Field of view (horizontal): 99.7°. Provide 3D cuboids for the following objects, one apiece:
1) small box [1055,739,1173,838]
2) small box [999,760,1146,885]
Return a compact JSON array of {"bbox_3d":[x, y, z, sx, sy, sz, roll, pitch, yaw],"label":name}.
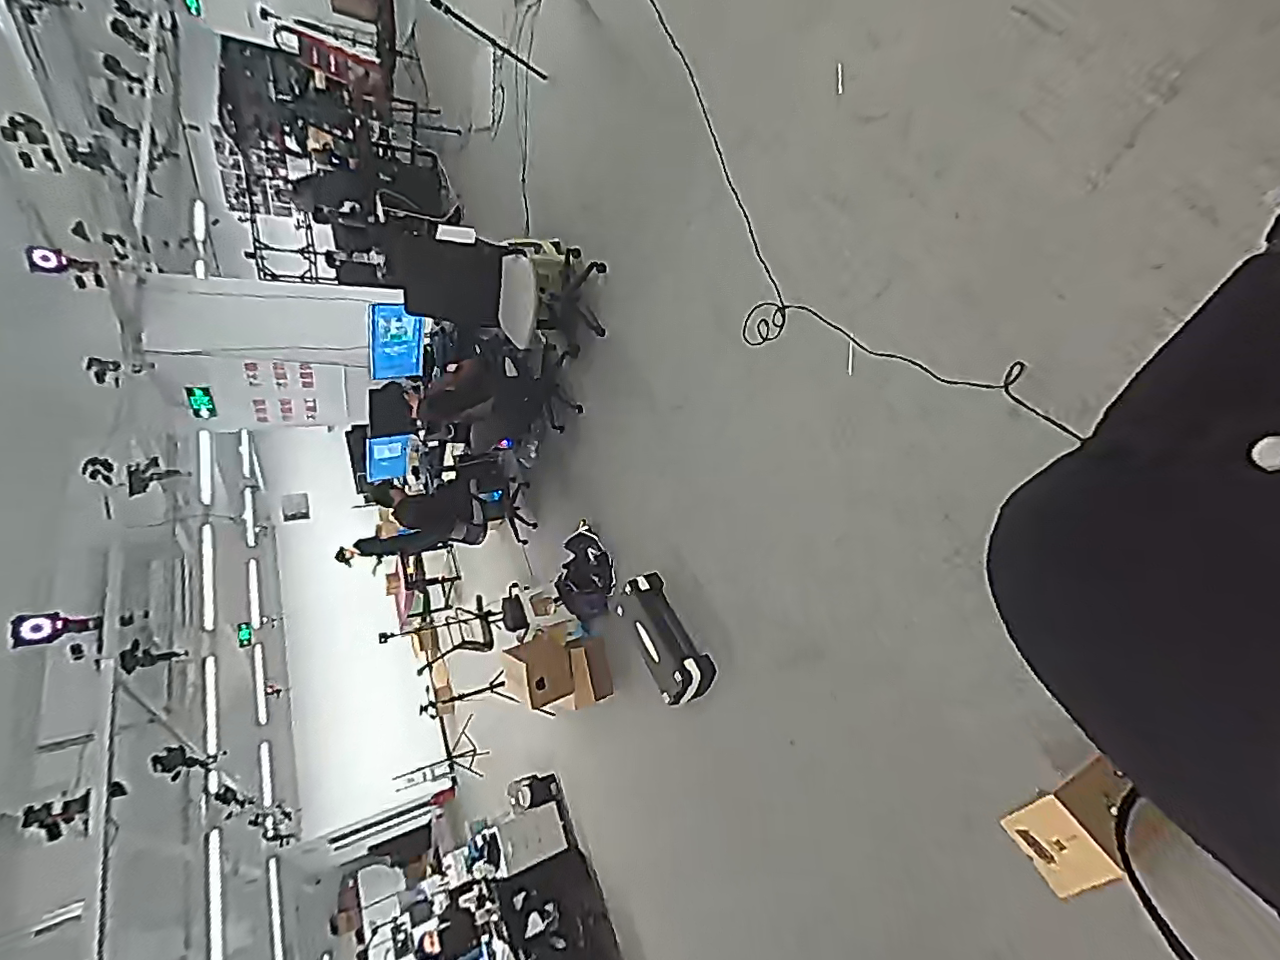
[{"bbox_3d":[1.132,0.764,1.316,0.168,0.176,0.179,57,143,38],"label":"small box"},{"bbox_3d":[0.988,0.777,1.236,0.168,0.176,0.179,57,141,37],"label":"small box"}]
